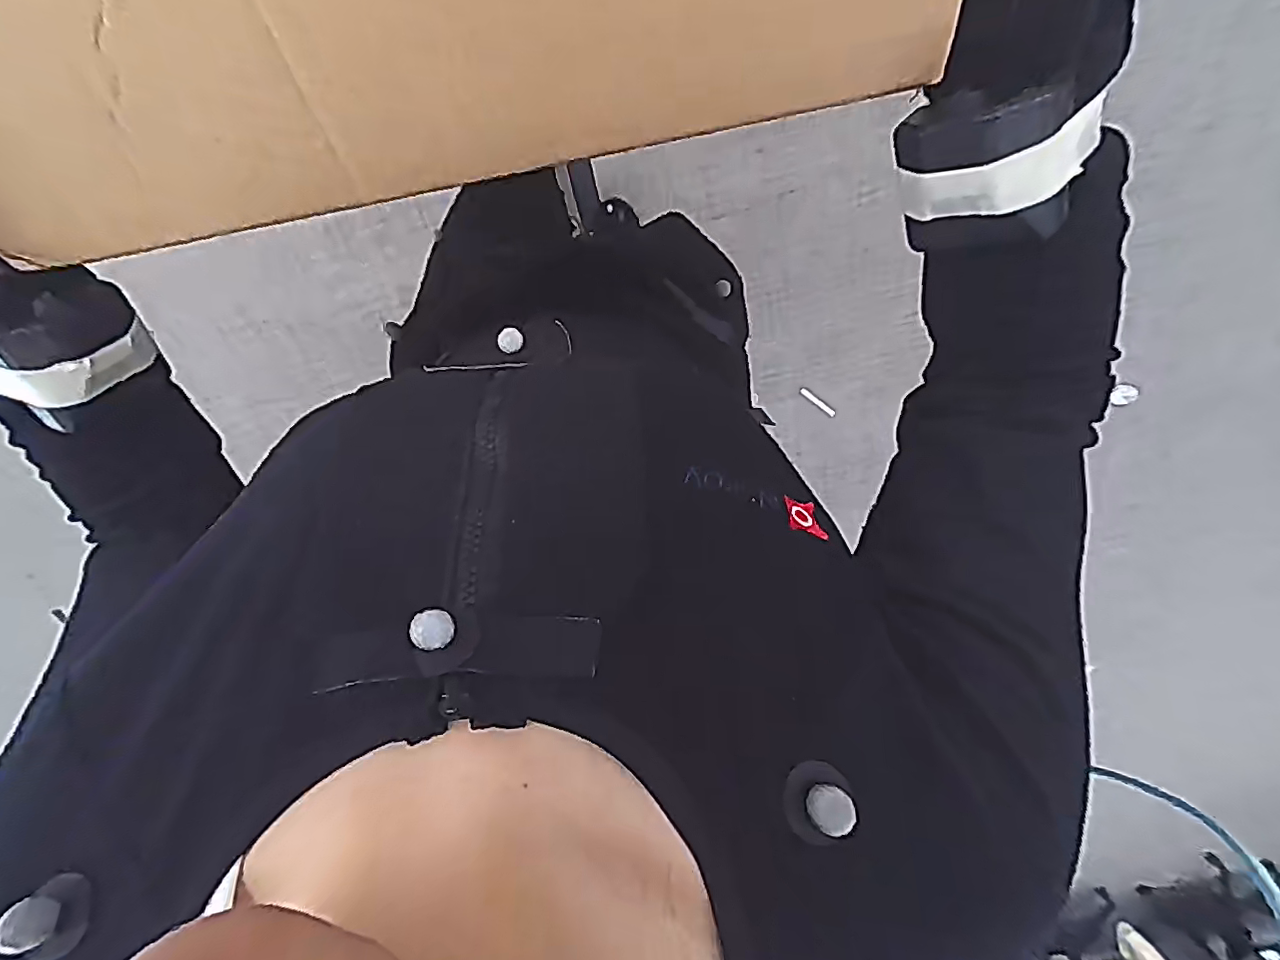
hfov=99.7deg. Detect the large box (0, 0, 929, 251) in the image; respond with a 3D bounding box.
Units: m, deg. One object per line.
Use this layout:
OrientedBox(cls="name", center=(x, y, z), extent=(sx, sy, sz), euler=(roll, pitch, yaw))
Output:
OrientedBox(cls="large box", center=(-0.117, -0.347, 0.210), extent=(0.408, 0.320, 0.320), euler=(-9, 140, 5))
